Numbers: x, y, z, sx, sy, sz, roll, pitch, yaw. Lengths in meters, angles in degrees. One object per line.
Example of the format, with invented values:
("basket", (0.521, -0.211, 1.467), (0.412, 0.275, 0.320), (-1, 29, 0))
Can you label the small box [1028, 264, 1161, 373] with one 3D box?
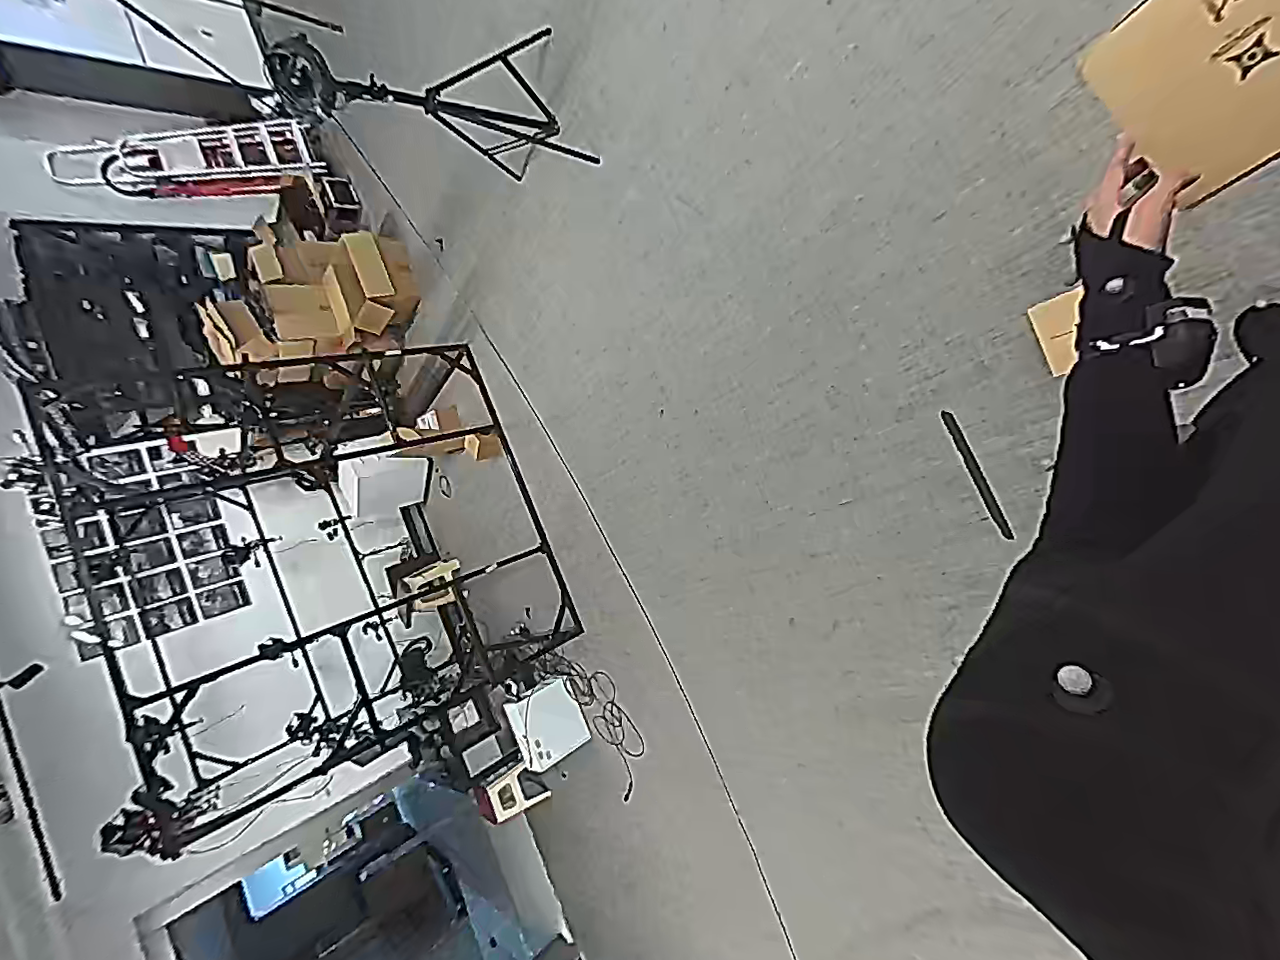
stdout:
("small box", (0.992, -0.351, 1.175), (0.179, 0.176, 0.168), (-23, 86, 51))

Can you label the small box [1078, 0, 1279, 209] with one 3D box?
("small box", (0.545, -0.375, 0.484), (0.168, 0.176, 0.179), (-35, 82, 49))
